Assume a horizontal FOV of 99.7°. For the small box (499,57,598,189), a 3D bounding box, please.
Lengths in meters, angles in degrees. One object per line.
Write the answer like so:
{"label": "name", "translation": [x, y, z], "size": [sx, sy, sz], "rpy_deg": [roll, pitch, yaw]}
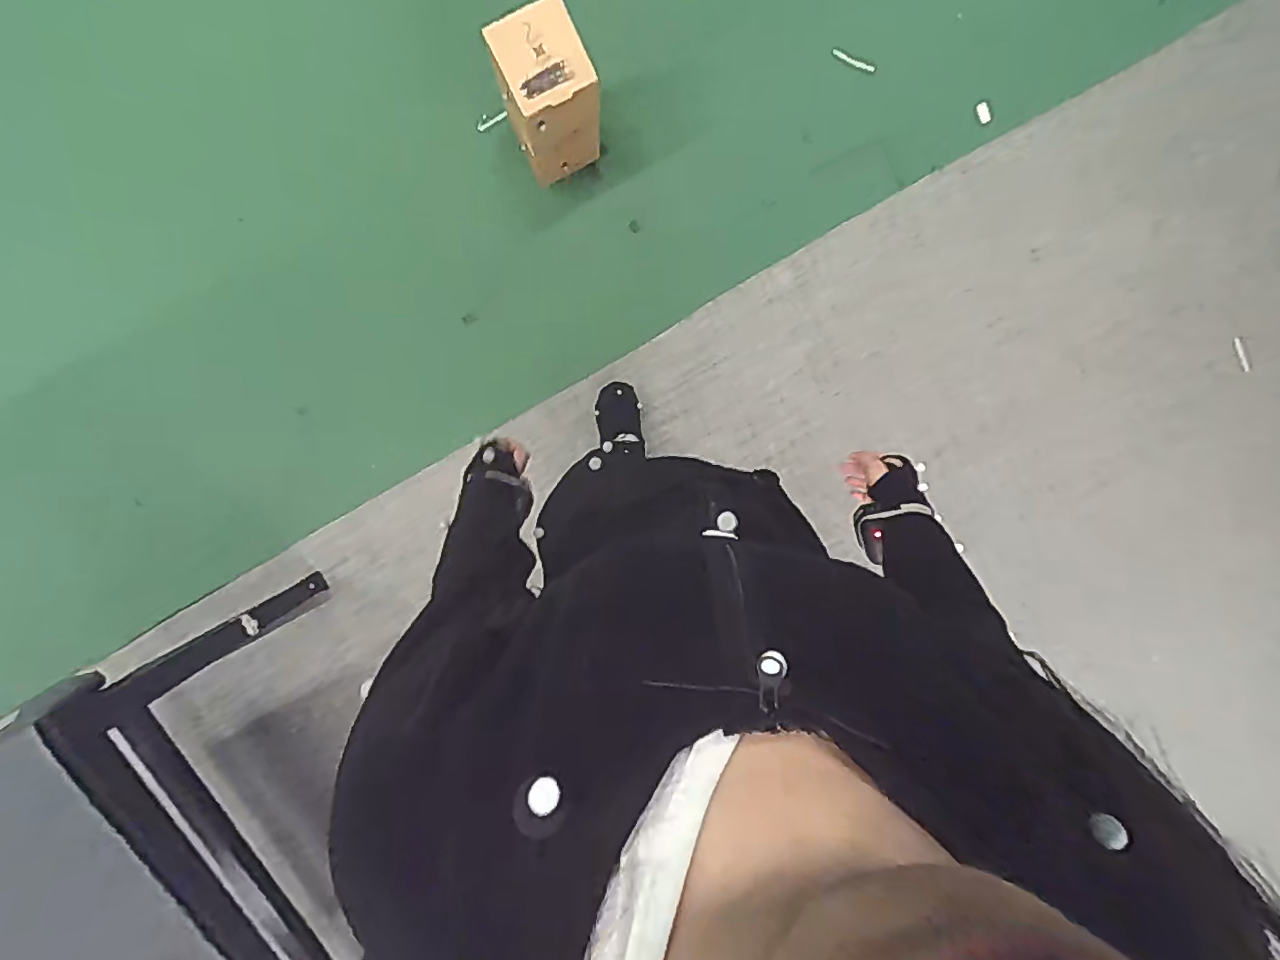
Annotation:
{"label": "small box", "translation": [-0.213, -0.838, 1.290], "size": [0.168, 0.176, 0.179], "rpy_deg": [-27, 99, 0]}
